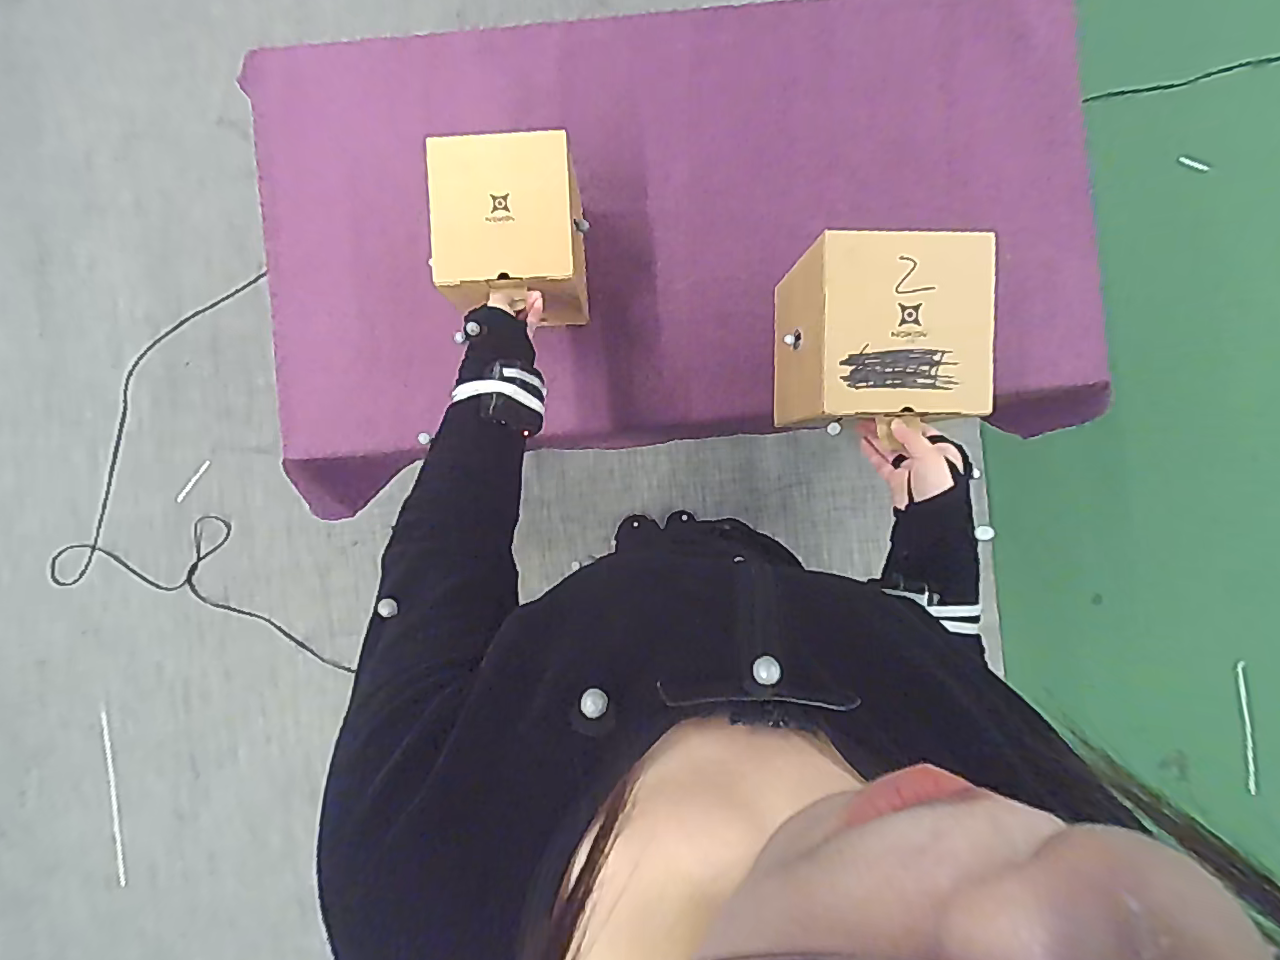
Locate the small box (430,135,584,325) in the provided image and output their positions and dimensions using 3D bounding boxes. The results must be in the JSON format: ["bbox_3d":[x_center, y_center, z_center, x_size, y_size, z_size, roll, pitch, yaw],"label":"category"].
[{"bbox_3d":[-0.167,-0.321,0.722,0.168,0.176,0.179,-3,89,0],"label":"small box"}]
